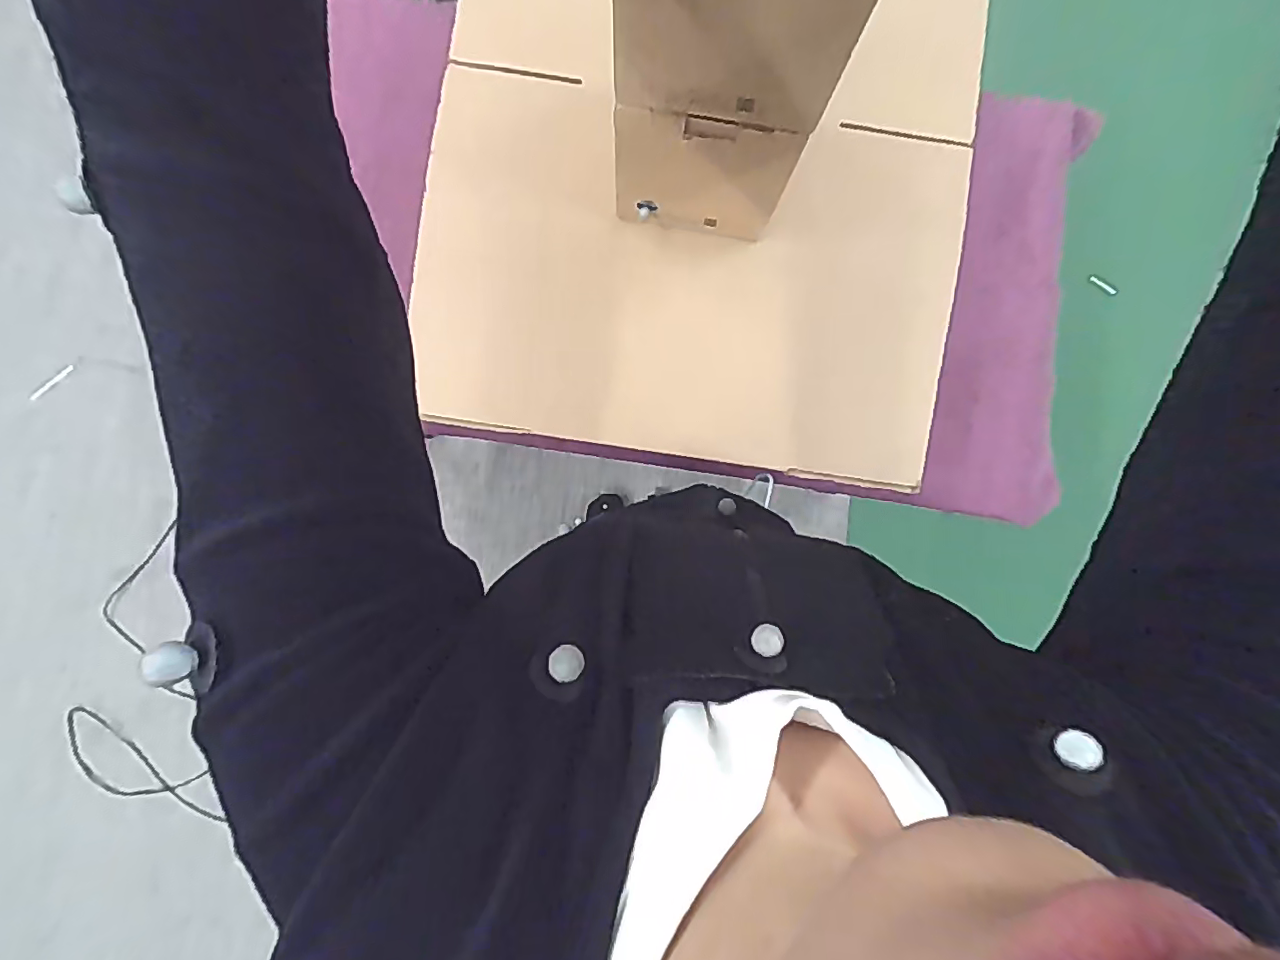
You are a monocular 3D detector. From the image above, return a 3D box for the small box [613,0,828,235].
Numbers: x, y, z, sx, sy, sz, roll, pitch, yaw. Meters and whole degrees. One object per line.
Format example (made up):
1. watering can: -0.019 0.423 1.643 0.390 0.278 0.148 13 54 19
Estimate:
1. small box: 0.071 -0.372 0.532 0.168 0.176 0.179 9 85 -1
